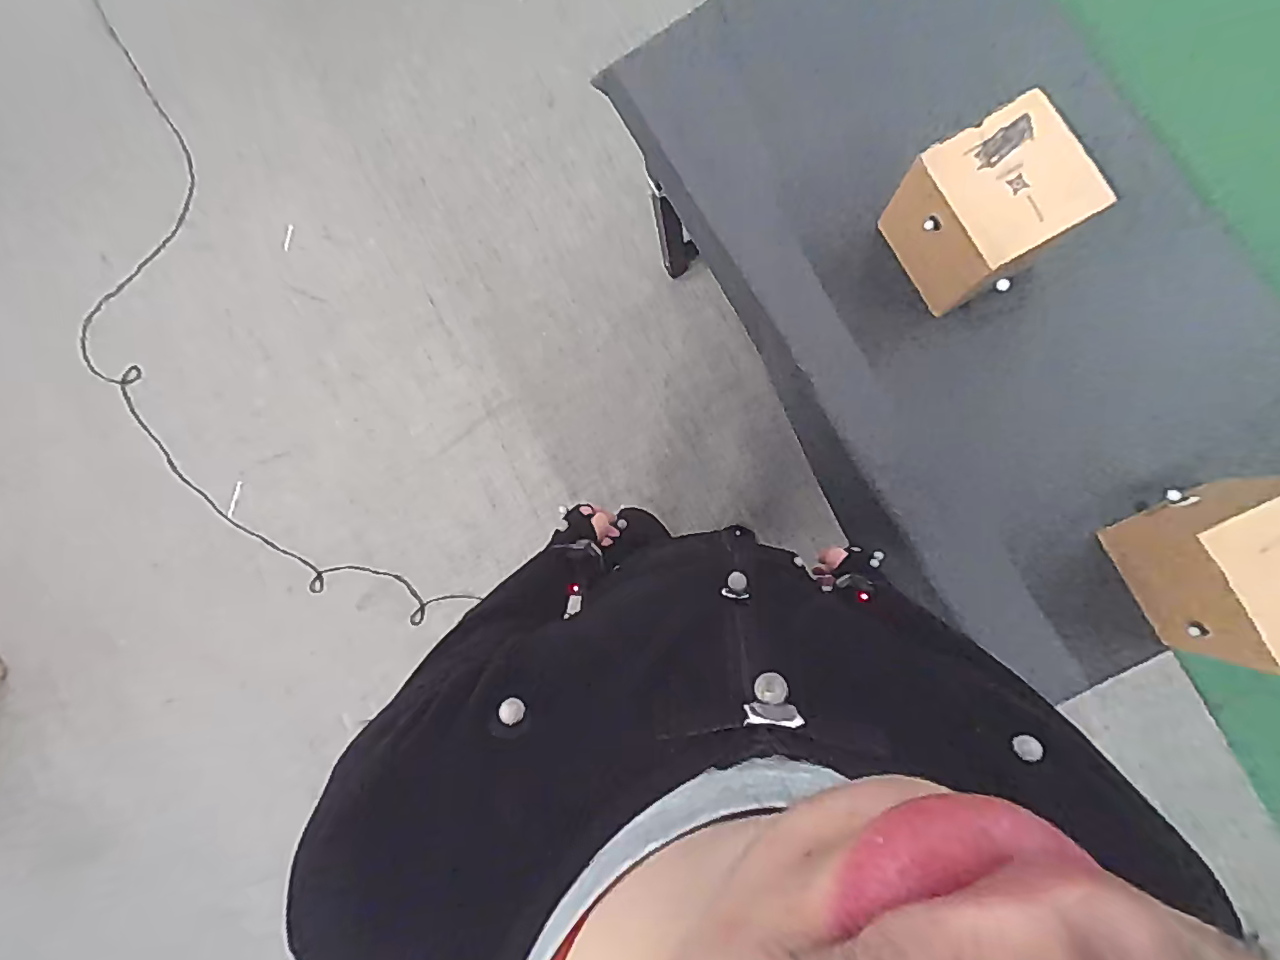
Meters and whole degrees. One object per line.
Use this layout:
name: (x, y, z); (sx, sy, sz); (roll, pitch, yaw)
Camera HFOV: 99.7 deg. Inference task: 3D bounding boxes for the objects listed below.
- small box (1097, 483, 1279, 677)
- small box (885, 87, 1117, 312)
small box: (0.741, 0.110, 0.672); (0.168, 0.176, 0.179); (-27, 82, 4)
small box: (0.466, -0.363, 0.734); (0.168, 0.176, 0.179); (-28, 85, 5)
